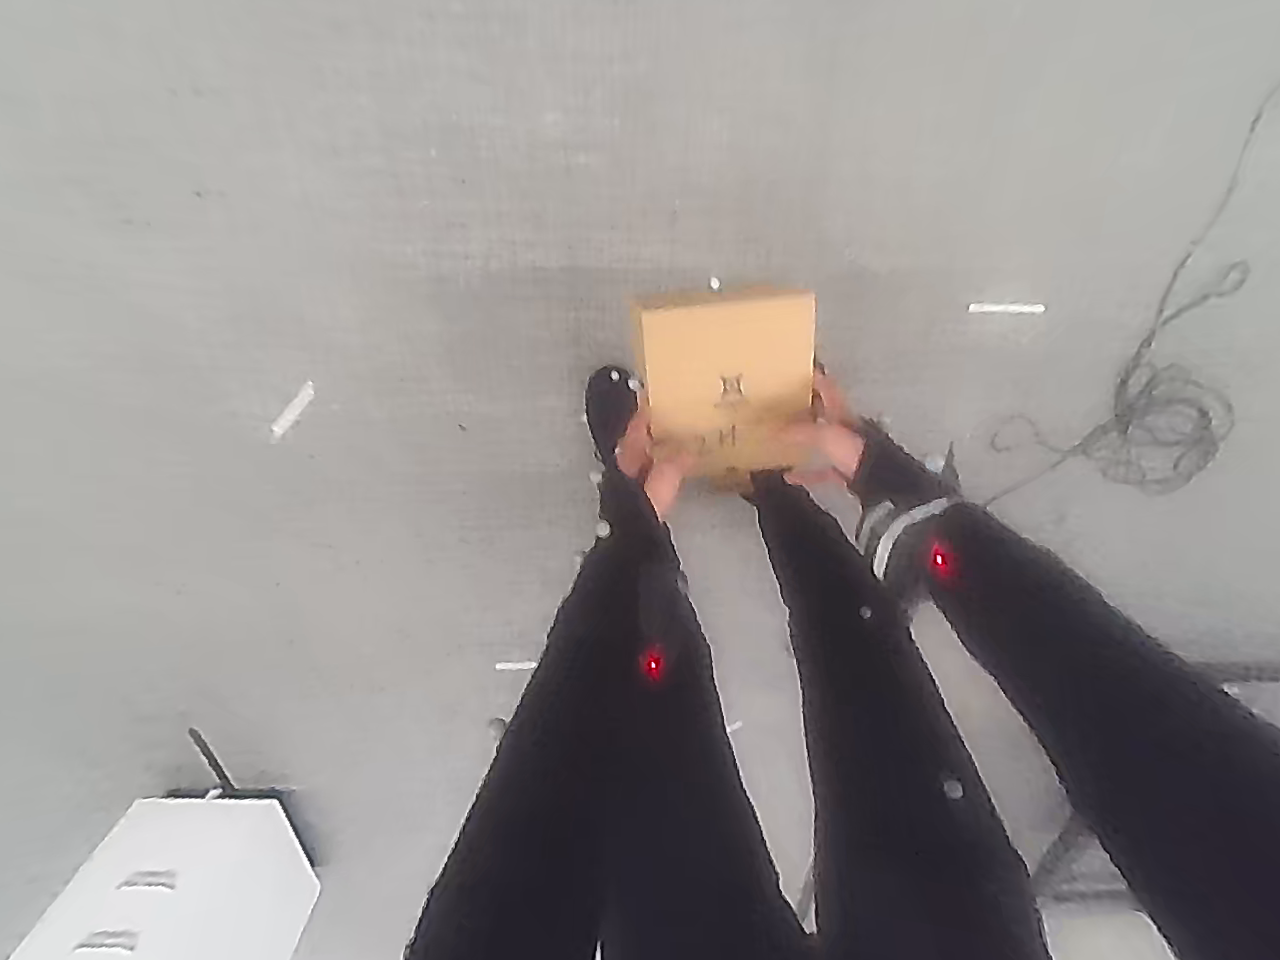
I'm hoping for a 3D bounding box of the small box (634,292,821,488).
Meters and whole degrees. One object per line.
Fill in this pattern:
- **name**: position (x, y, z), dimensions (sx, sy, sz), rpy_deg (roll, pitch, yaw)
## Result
- **small box**: position (0.085, -0.110, 0.599), dimensions (0.168, 0.176, 0.179), rpy_deg (-6, 115, -3)
